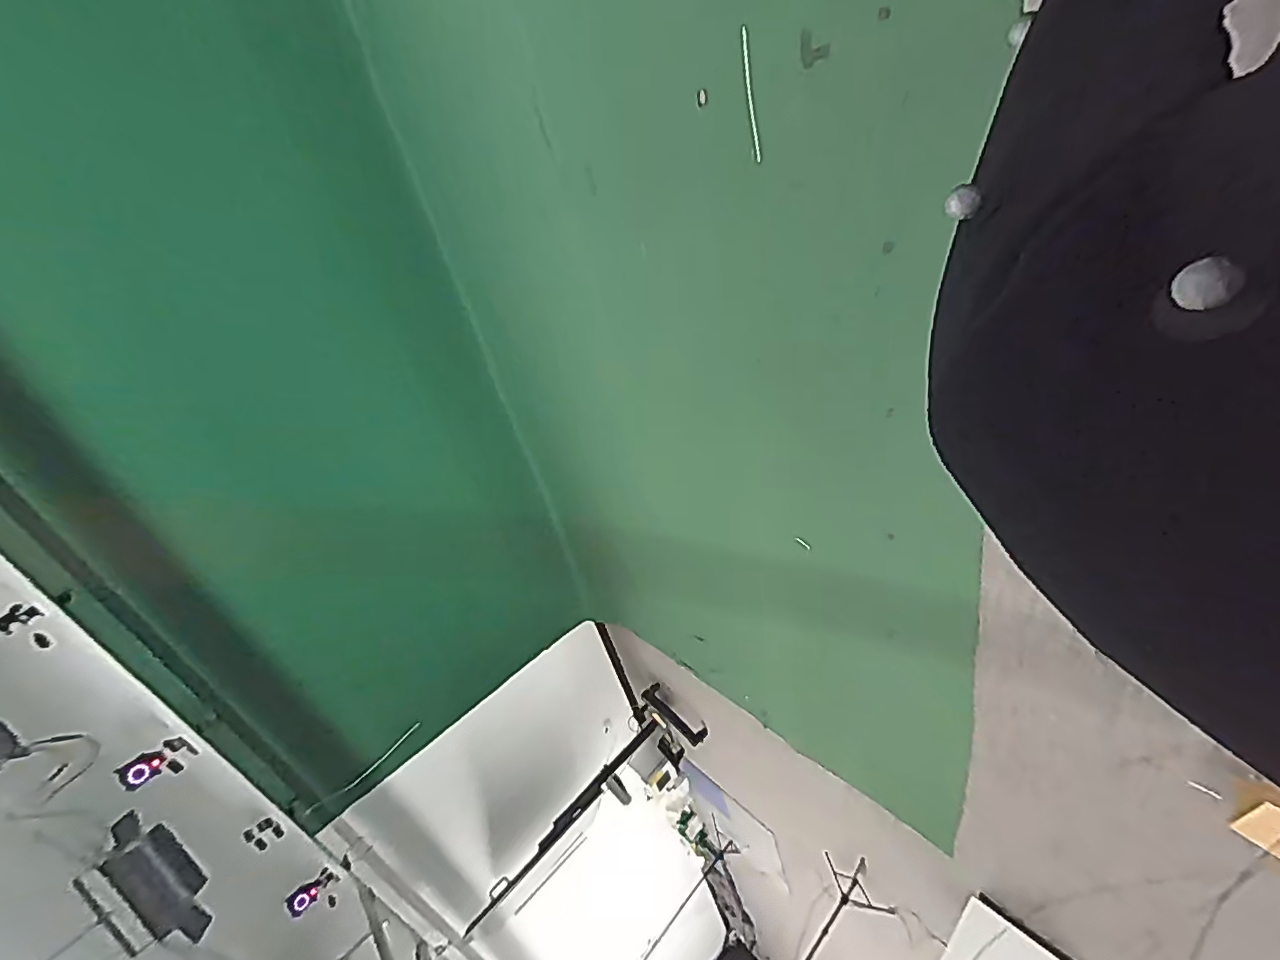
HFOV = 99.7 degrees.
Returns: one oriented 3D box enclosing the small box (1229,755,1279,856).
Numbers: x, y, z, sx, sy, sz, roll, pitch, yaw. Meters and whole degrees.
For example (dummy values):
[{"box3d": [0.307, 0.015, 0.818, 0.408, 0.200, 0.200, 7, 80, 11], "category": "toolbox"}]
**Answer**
[{"box3d": [1.626, 0.822, 1.326, 0.179, 0.176, 0.168, 33, 144, 37], "category": "small box"}]
